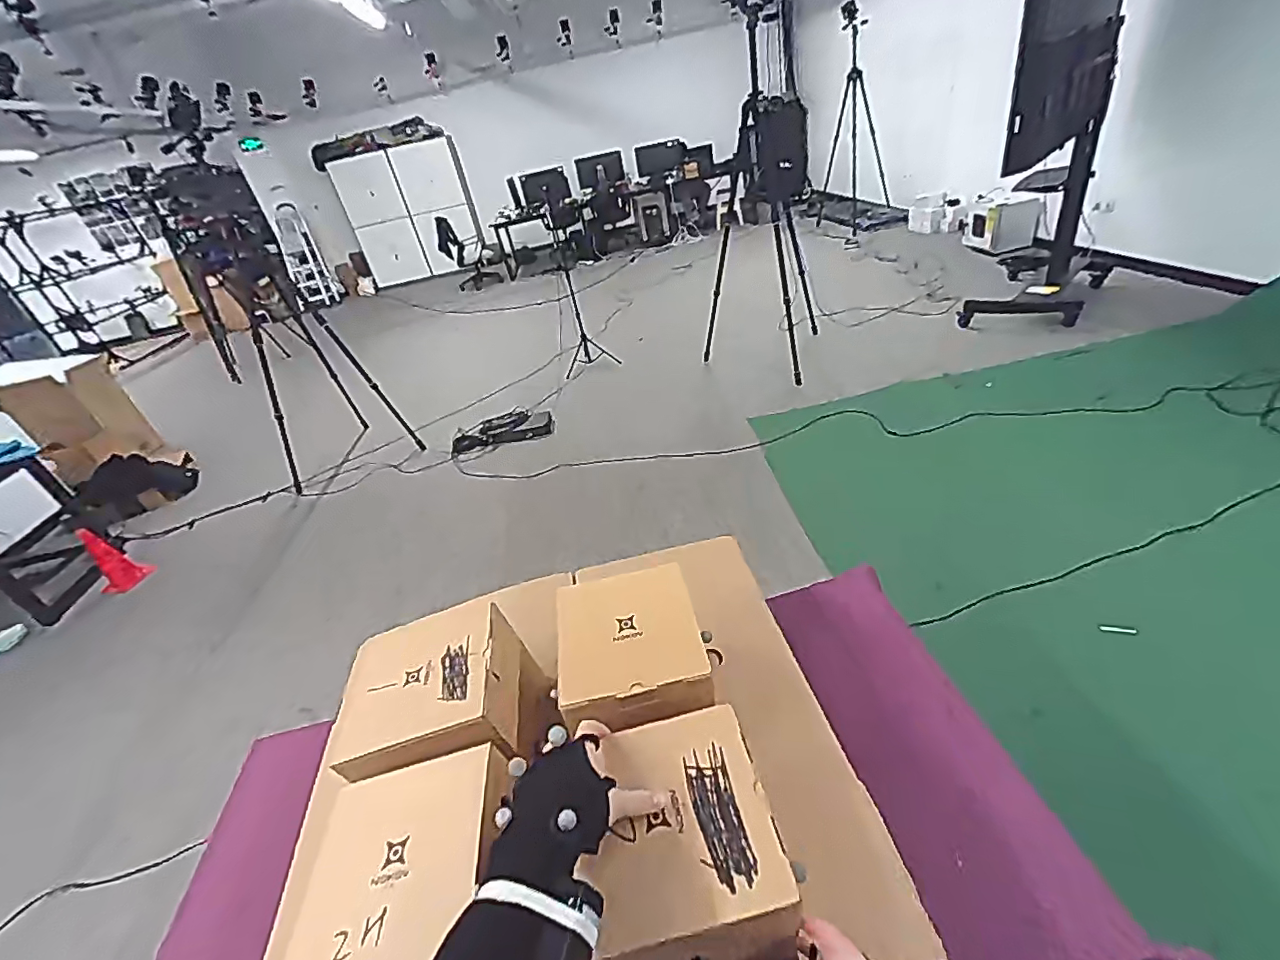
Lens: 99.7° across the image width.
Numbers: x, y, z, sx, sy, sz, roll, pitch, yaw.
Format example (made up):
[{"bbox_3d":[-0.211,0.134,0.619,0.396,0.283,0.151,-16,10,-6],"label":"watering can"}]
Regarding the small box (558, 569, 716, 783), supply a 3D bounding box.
[{"bbox_3d":[-0.006,0.244,0.685,0.168,0.176,0.179,-12,36,-3],"label":"small box"}]
